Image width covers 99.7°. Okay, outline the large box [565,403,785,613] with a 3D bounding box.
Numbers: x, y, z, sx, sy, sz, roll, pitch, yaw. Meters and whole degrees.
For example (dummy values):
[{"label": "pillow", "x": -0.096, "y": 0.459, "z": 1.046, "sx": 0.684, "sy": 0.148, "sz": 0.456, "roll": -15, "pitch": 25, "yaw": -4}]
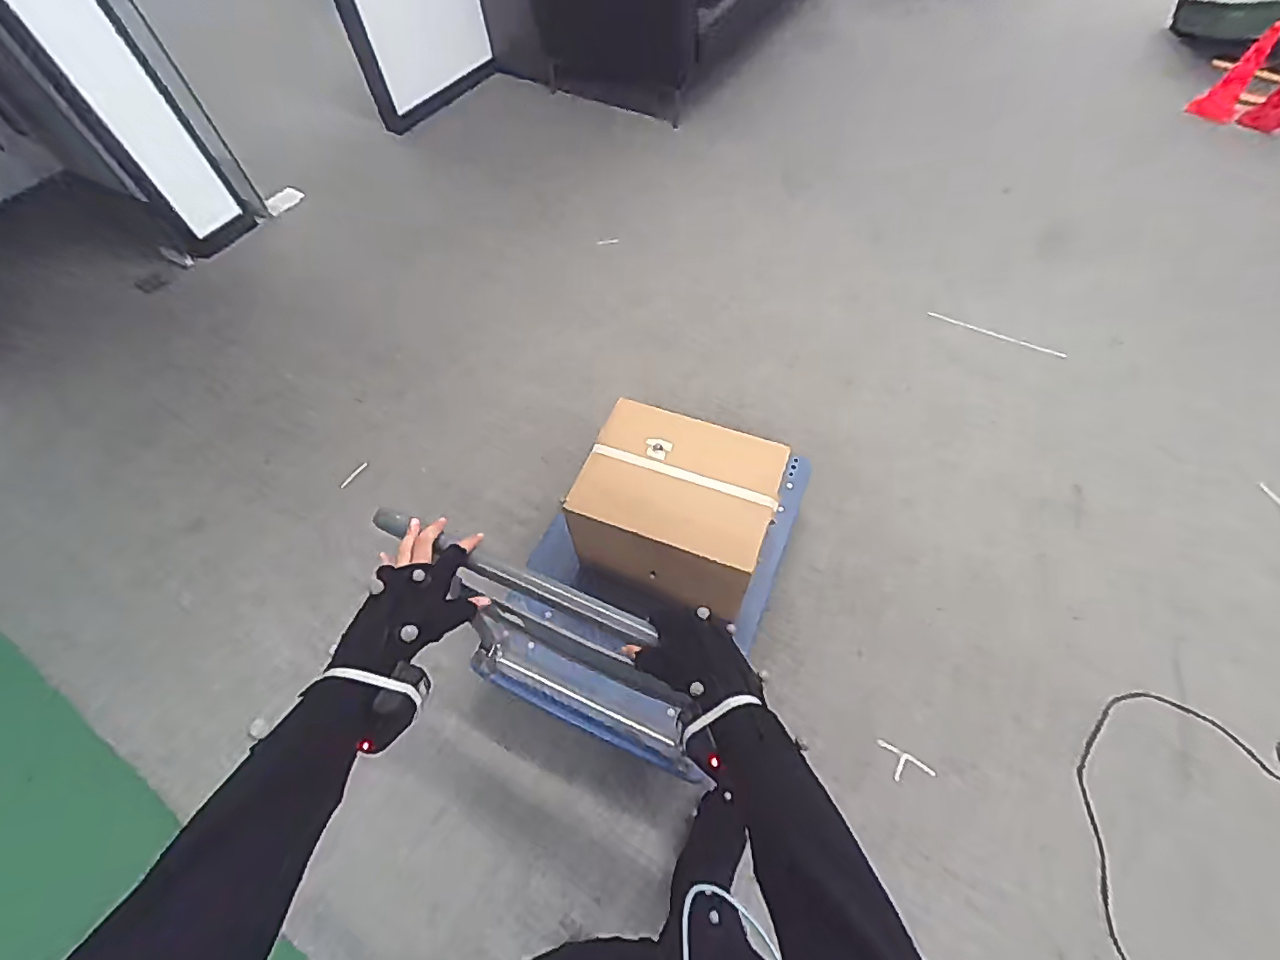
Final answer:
[{"label": "large box", "x": 0.089, "y": 0.071, "z": 1.274, "sx": 0.408, "sy": 0.320, "sz": 0.320, "roll": 17, "pitch": 60, "yaw": 13}]
